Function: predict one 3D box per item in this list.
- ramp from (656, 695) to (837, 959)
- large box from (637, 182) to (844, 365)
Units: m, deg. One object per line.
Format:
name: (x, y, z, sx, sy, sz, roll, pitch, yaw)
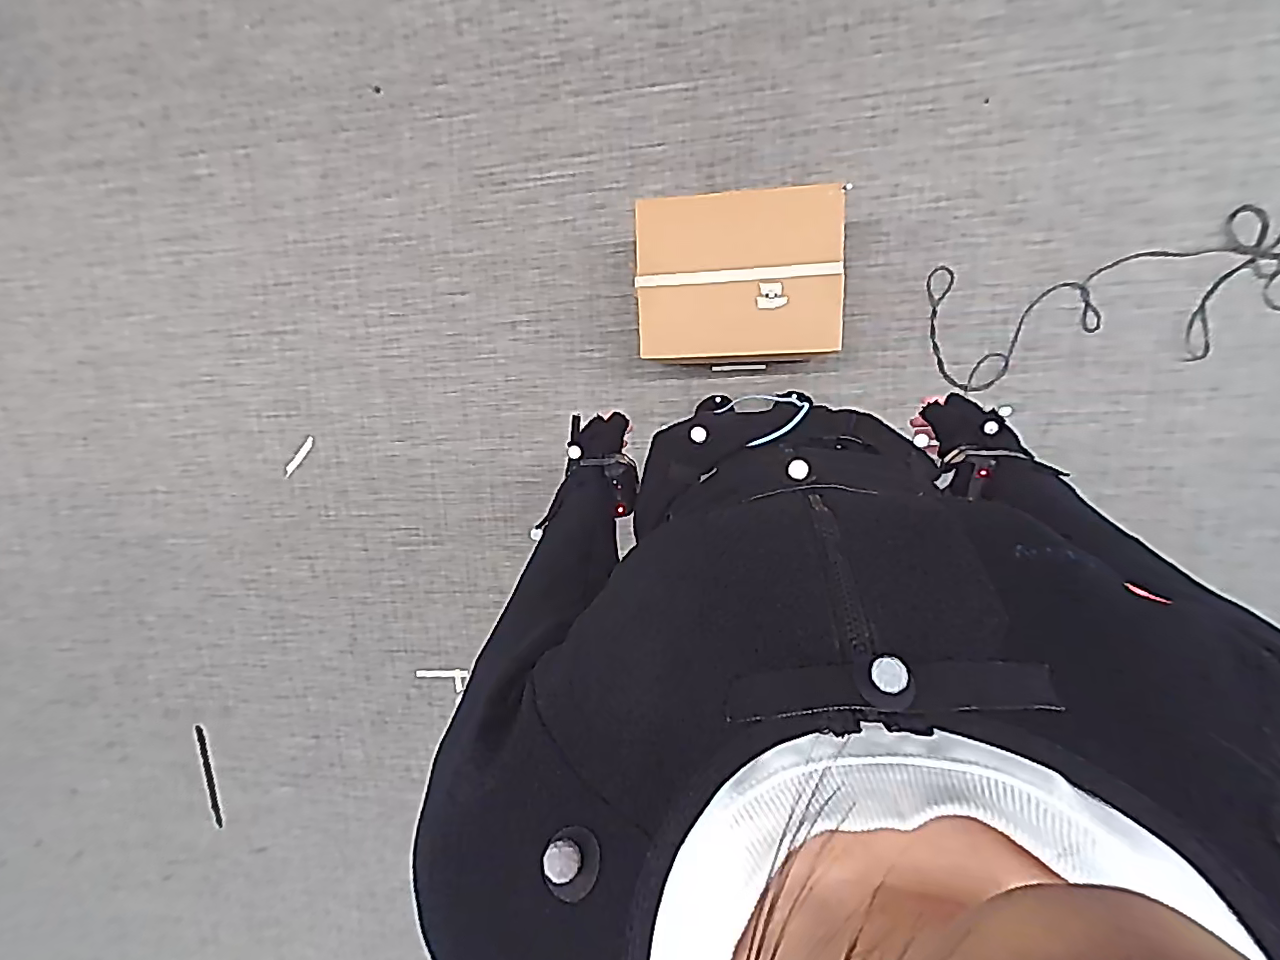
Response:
ramp: (0.293, 1.126, 1.529, 0.509, 0.206, 0.991, 0, 99, 10)
large box: (0.217, -0.434, 1.222, 0.408, 0.320, 0.320, -1, 100, 8)
